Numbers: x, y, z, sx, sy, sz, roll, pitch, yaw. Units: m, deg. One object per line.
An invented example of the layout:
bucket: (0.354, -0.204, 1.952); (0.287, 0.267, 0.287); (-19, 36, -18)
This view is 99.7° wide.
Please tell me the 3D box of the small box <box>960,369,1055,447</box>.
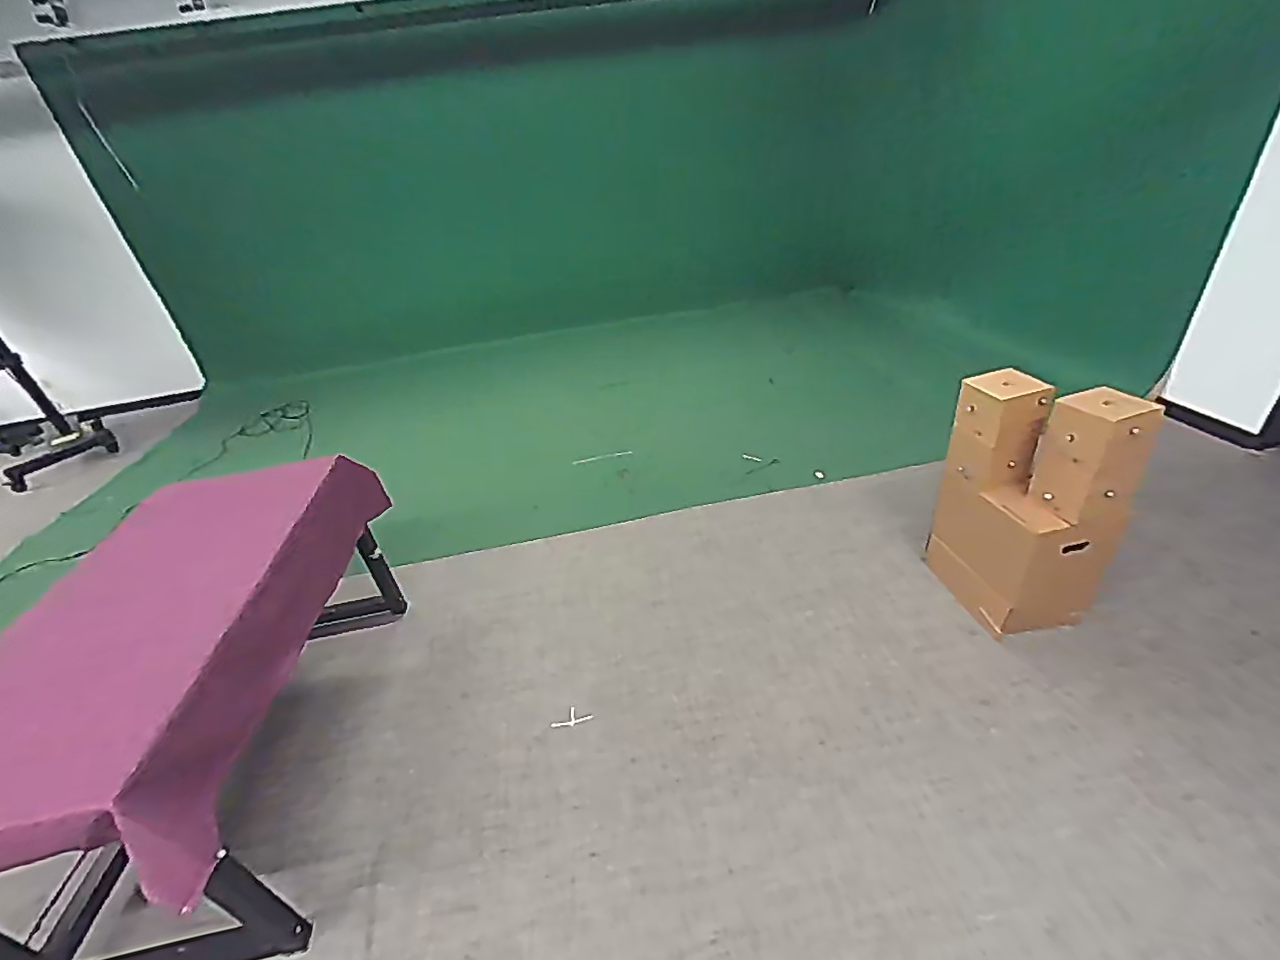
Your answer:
small box: (1.122, -0.221, 1.671); (0.179, 0.176, 0.168); (-14, 34, -6)

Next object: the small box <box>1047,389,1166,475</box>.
small box: (1.276, -0.132, 1.498); (0.179, 0.176, 0.168); (-13, 32, -9)
